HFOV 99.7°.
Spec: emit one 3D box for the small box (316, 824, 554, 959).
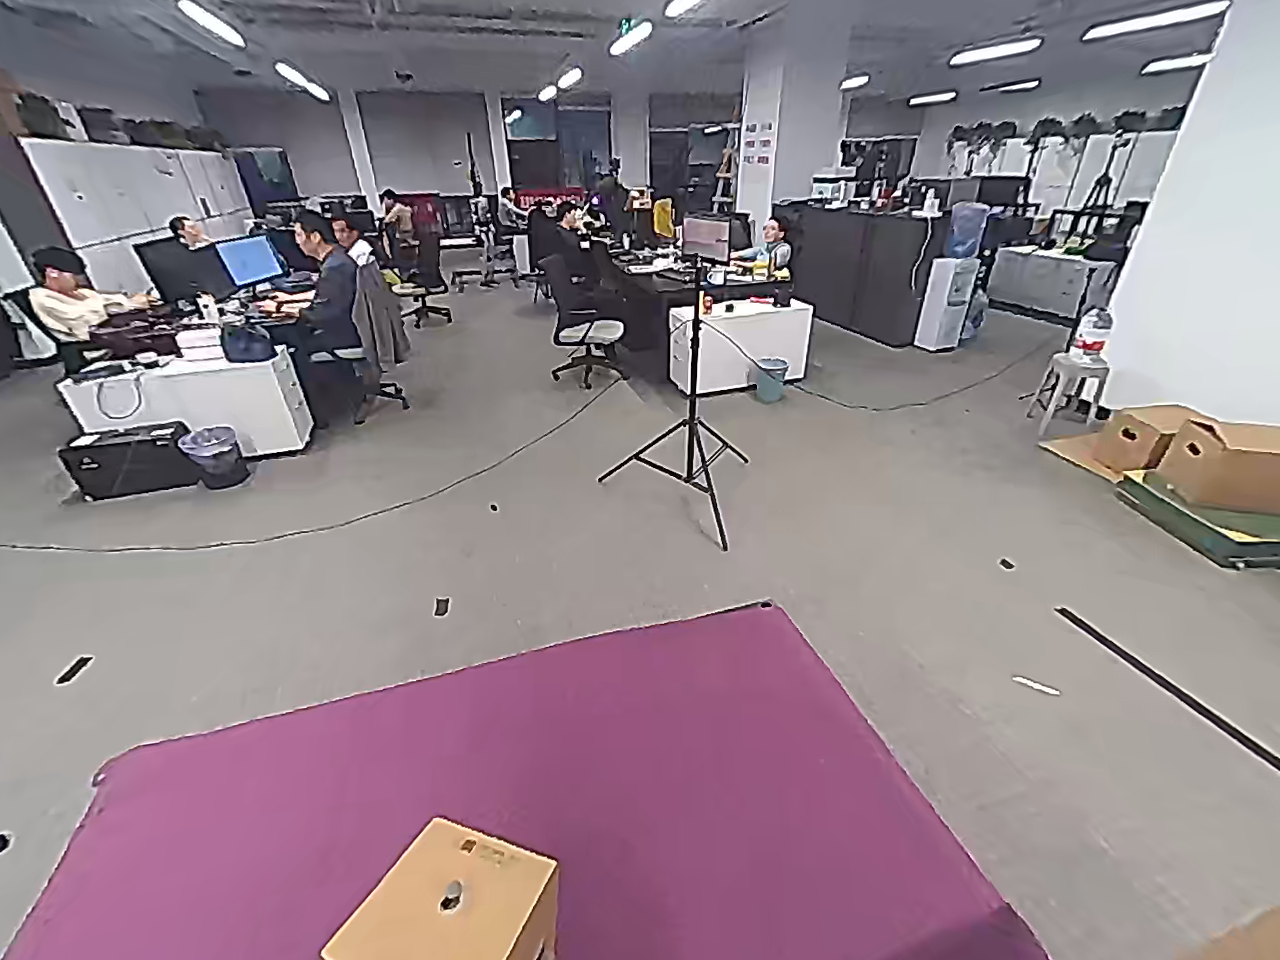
[{"bbox_3d":[-0.200,0.507,0.561,0.168,0.179,0.176,8,13,17],"label":"small box"}]
